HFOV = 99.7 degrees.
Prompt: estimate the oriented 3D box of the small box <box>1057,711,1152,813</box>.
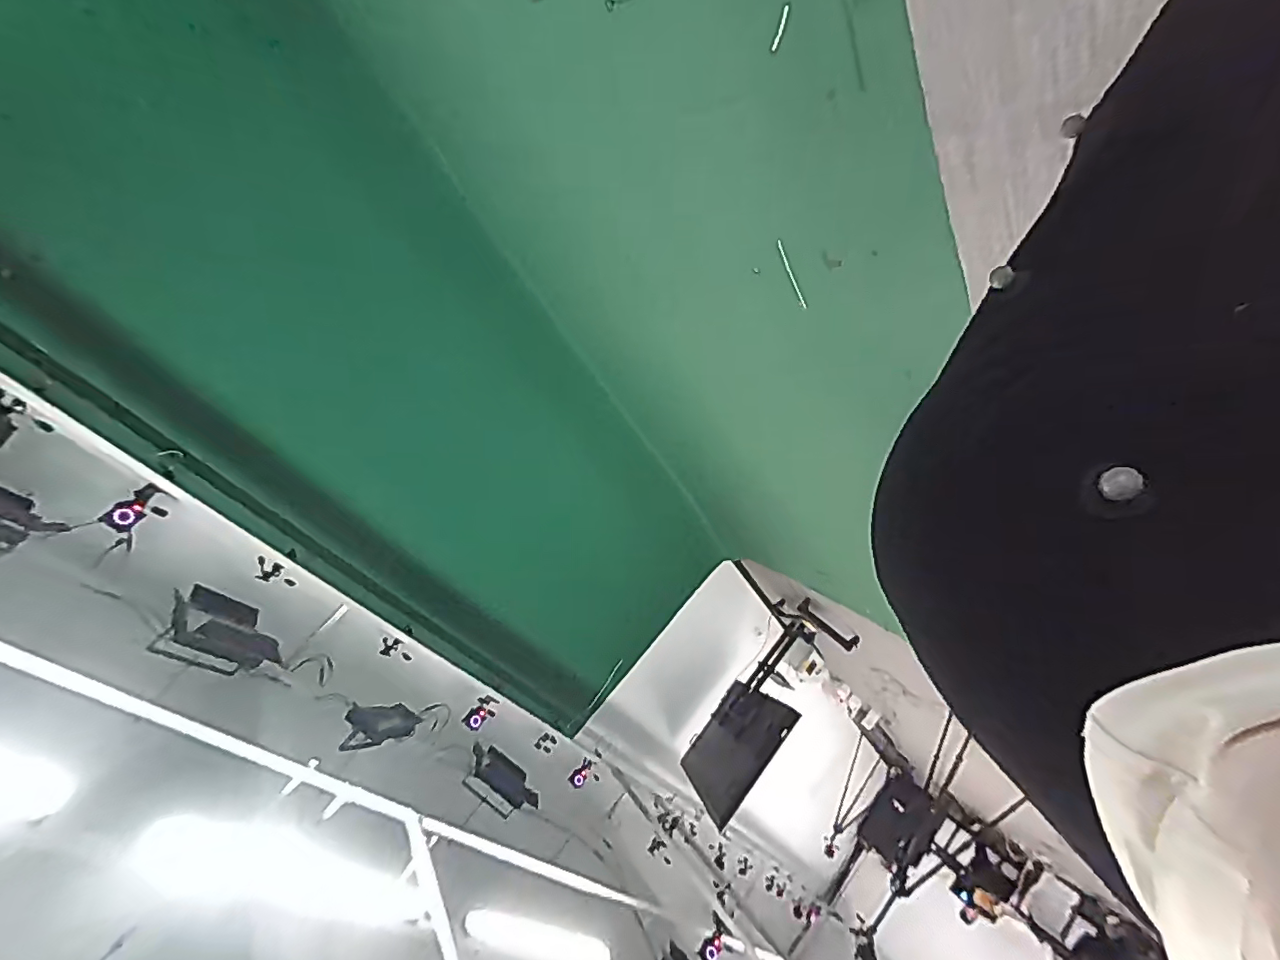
[{"bbox_3d":[1.367,0.823,1.589,0.168,0.176,0.179,21,154,54],"label":"small box"}]
